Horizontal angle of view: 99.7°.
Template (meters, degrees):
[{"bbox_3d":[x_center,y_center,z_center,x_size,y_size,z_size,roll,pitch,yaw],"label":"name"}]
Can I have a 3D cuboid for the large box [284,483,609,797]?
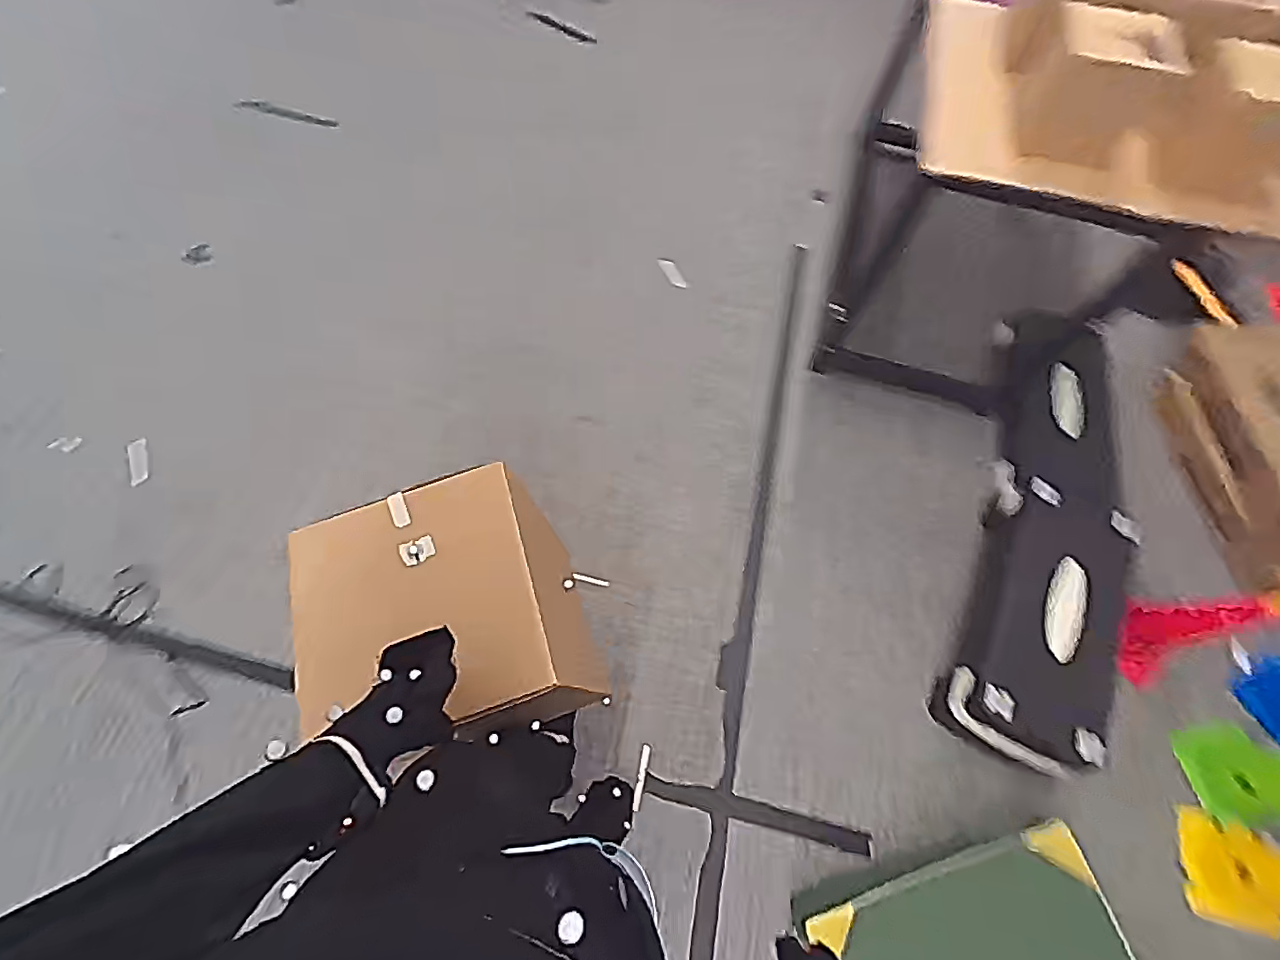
[{"bbox_3d":[-0.271,0.250,0.859,0.320,0.408,0.320,-20,68,-2],"label":"large box"}]
